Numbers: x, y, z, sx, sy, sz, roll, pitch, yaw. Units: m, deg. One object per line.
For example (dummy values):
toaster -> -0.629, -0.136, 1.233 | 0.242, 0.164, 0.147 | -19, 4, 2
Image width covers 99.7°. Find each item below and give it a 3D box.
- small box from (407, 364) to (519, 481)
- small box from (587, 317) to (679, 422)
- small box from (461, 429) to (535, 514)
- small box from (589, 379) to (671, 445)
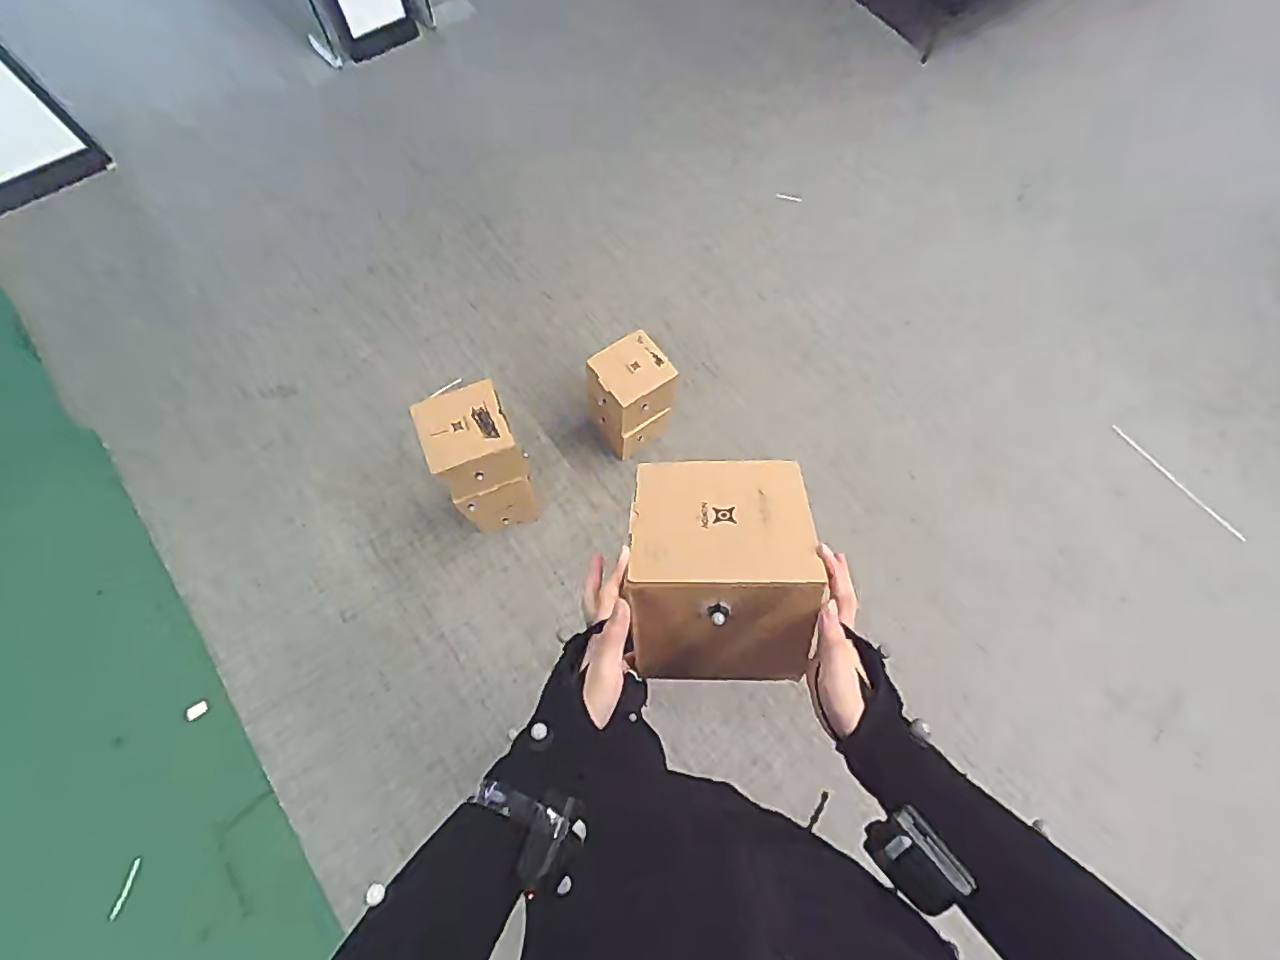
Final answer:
small box -> -0.366, -0.116, 1.152 | 0.179, 0.176, 0.168 | -19, 73, -9
small box -> -0.018, -0.279, 1.402 | 0.179, 0.176, 0.168 | -32, 76, -12
small box -> -0.386, -0.015, 1.463 | 0.168, 0.176, 0.179 | -13, 72, -8
small box -> -0.029, -0.221, 1.555 | 0.168, 0.176, 0.179 | -33, 76, -13
